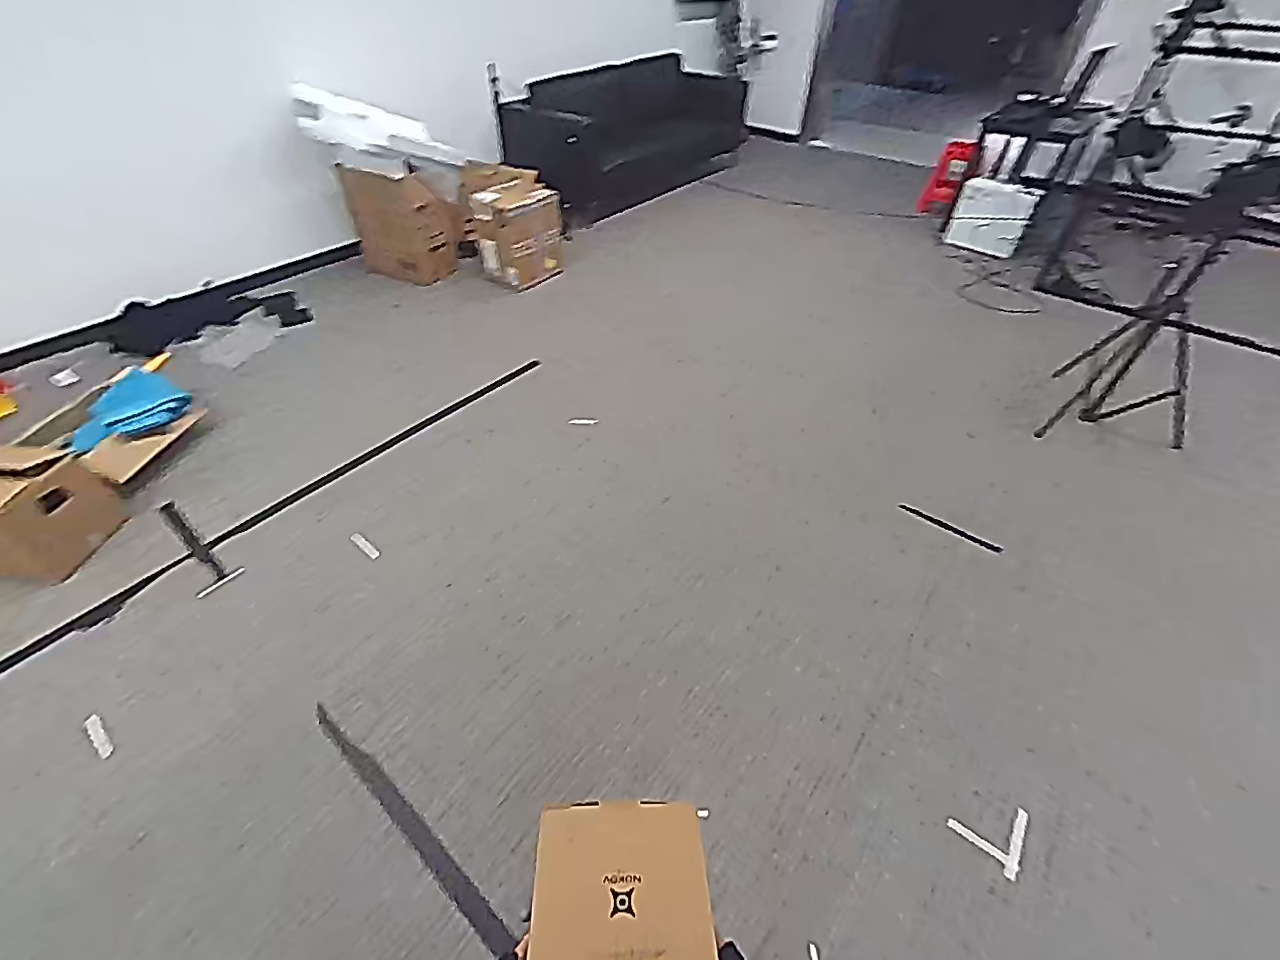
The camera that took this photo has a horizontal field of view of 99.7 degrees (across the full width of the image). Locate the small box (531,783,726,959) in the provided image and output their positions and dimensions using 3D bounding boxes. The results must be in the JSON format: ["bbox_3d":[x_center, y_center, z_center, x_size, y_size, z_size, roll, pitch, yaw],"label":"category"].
[{"bbox_3d":[-0.016,0.436,0.540,0.168,0.176,0.179,1,30,-4],"label":"small box"}]
